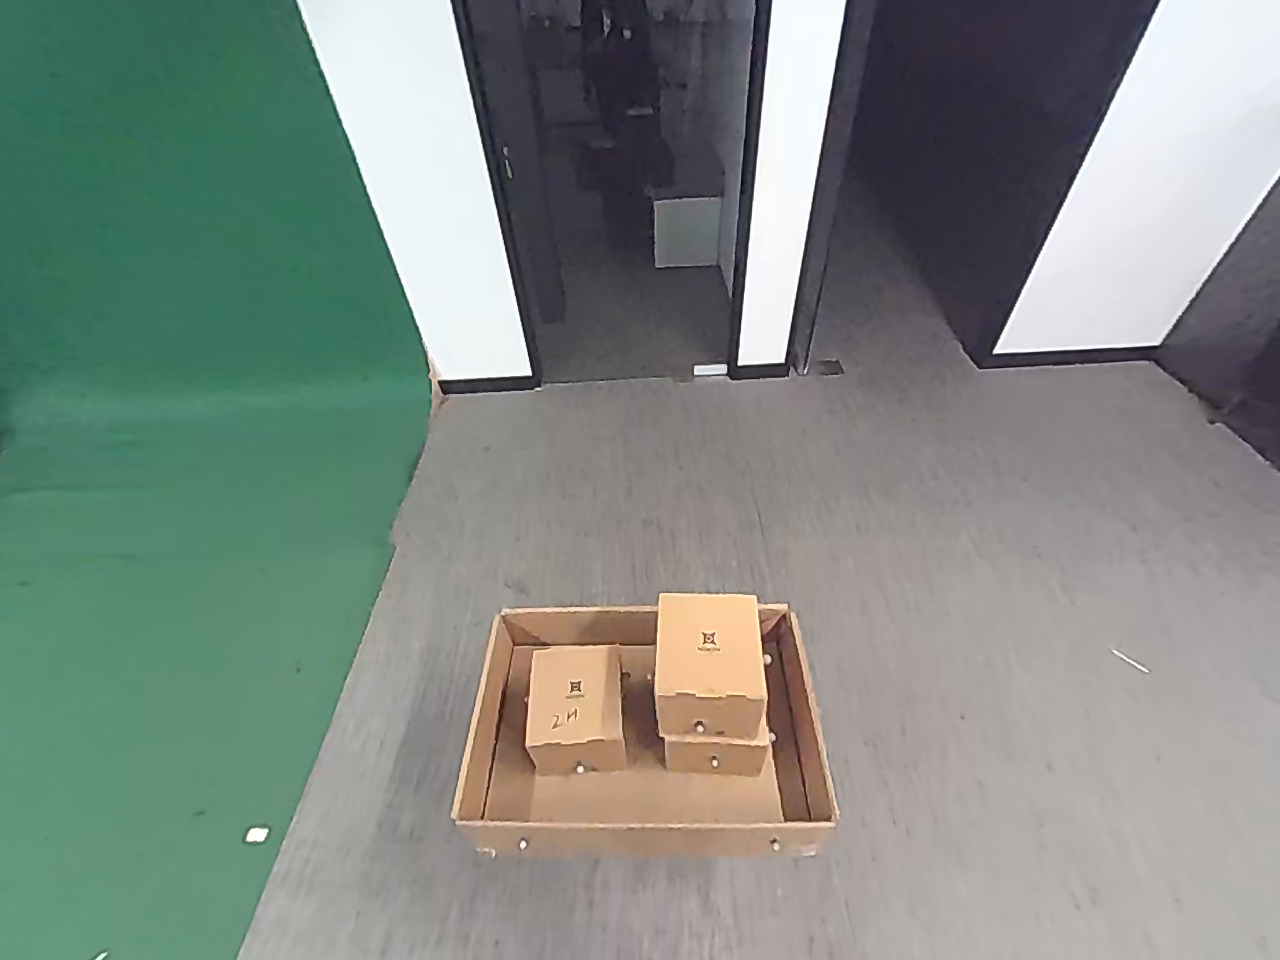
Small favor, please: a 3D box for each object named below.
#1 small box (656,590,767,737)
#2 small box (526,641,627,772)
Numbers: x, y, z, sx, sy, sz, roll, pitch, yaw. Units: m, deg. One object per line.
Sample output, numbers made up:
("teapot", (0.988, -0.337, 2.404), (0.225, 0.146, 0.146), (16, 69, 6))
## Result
("small box", (0.113, 0.305, 0.904), (0.168, 0.176, 0.179), (0, 45, 5))
("small box", (-0.112, 0.428, 1.022), (0.168, 0.176, 0.179), (-3, 45, -1))
